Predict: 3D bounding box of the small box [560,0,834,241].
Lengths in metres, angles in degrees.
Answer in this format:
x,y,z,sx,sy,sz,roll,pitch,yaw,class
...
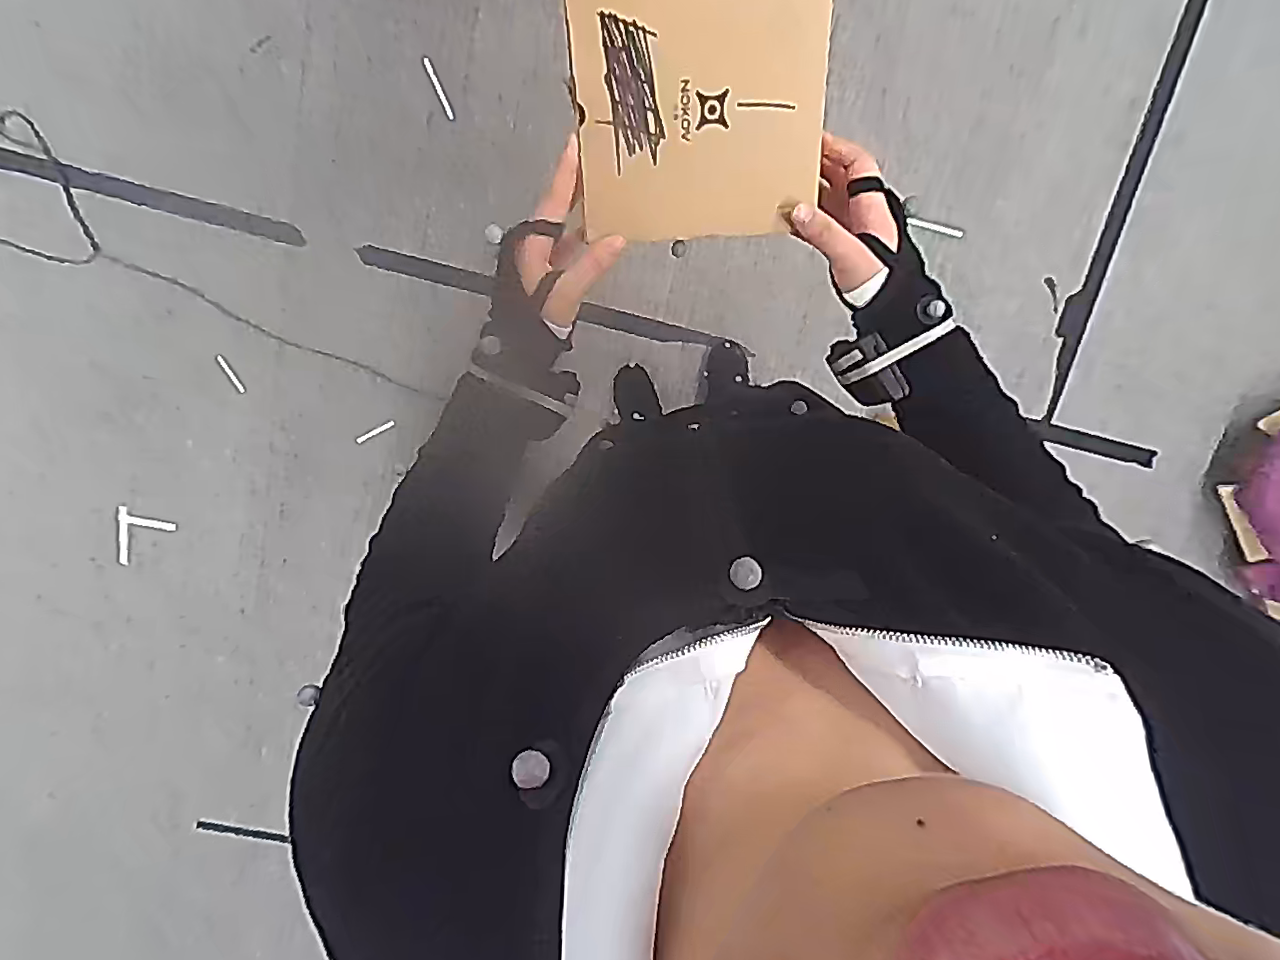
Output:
x,y,z,sx,sy,sz,roll,pitch,yaw,class
0.037,-0.286,0.436,0.179,0.176,0.168,-4,115,-1,small box
